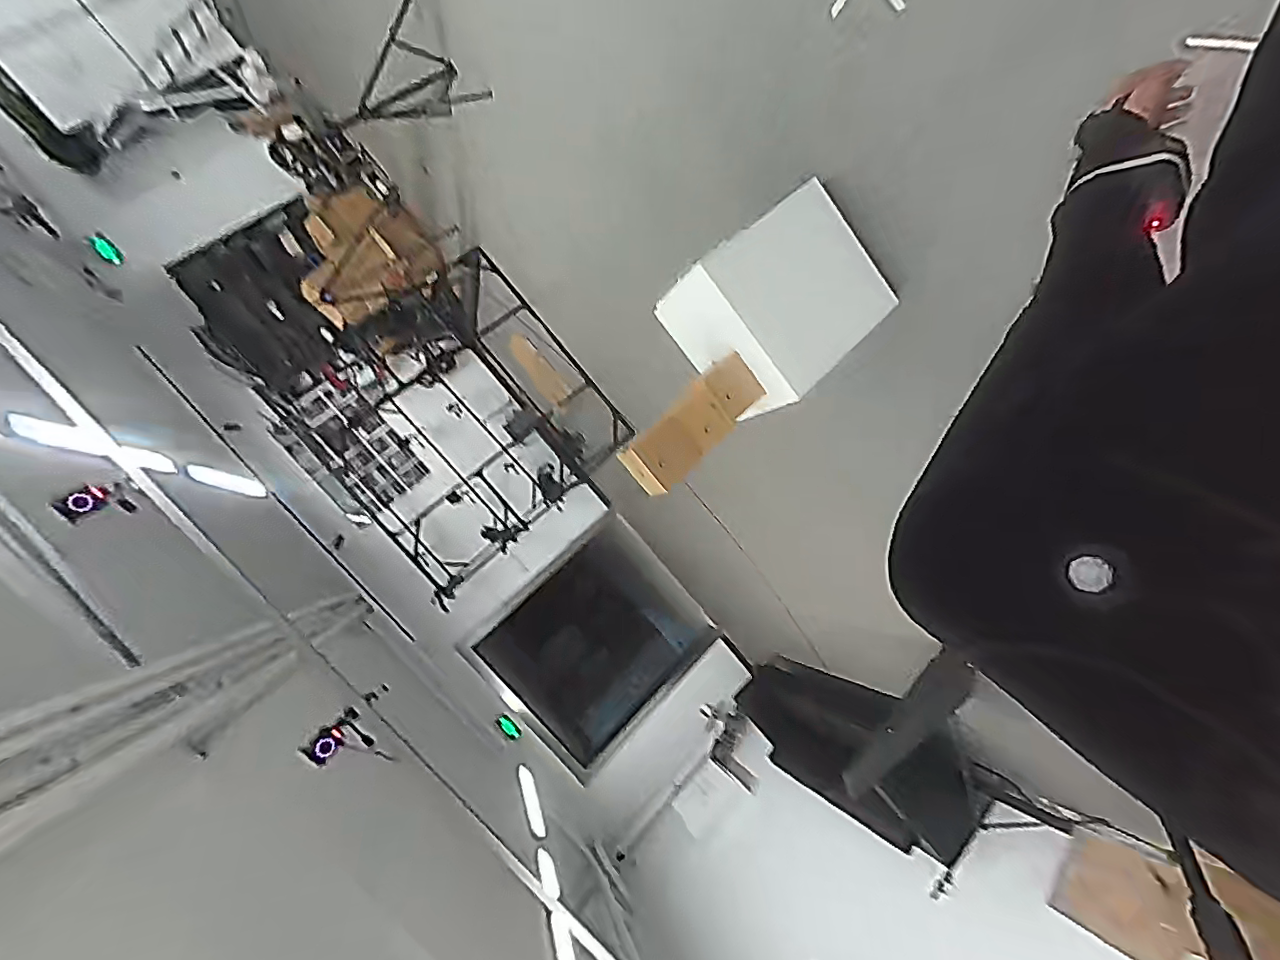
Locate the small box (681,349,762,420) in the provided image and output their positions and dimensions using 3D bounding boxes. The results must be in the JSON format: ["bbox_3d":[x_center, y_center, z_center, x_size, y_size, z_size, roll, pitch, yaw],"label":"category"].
[{"bbox_3d":[0.276,-0.308,1.810,0.179,0.176,0.168,52,162,-11],"label":"small box"}]

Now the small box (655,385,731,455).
[{"bbox_3d":[0.172,-0.191,1.766,0.168,0.176,0.179,52,163,-12],"label":"small box"}]

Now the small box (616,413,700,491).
[{"bbox_3d":[0.060,-0.085,1.704,0.179,0.176,0.168,51,162,-10],"label":"small box"}]
